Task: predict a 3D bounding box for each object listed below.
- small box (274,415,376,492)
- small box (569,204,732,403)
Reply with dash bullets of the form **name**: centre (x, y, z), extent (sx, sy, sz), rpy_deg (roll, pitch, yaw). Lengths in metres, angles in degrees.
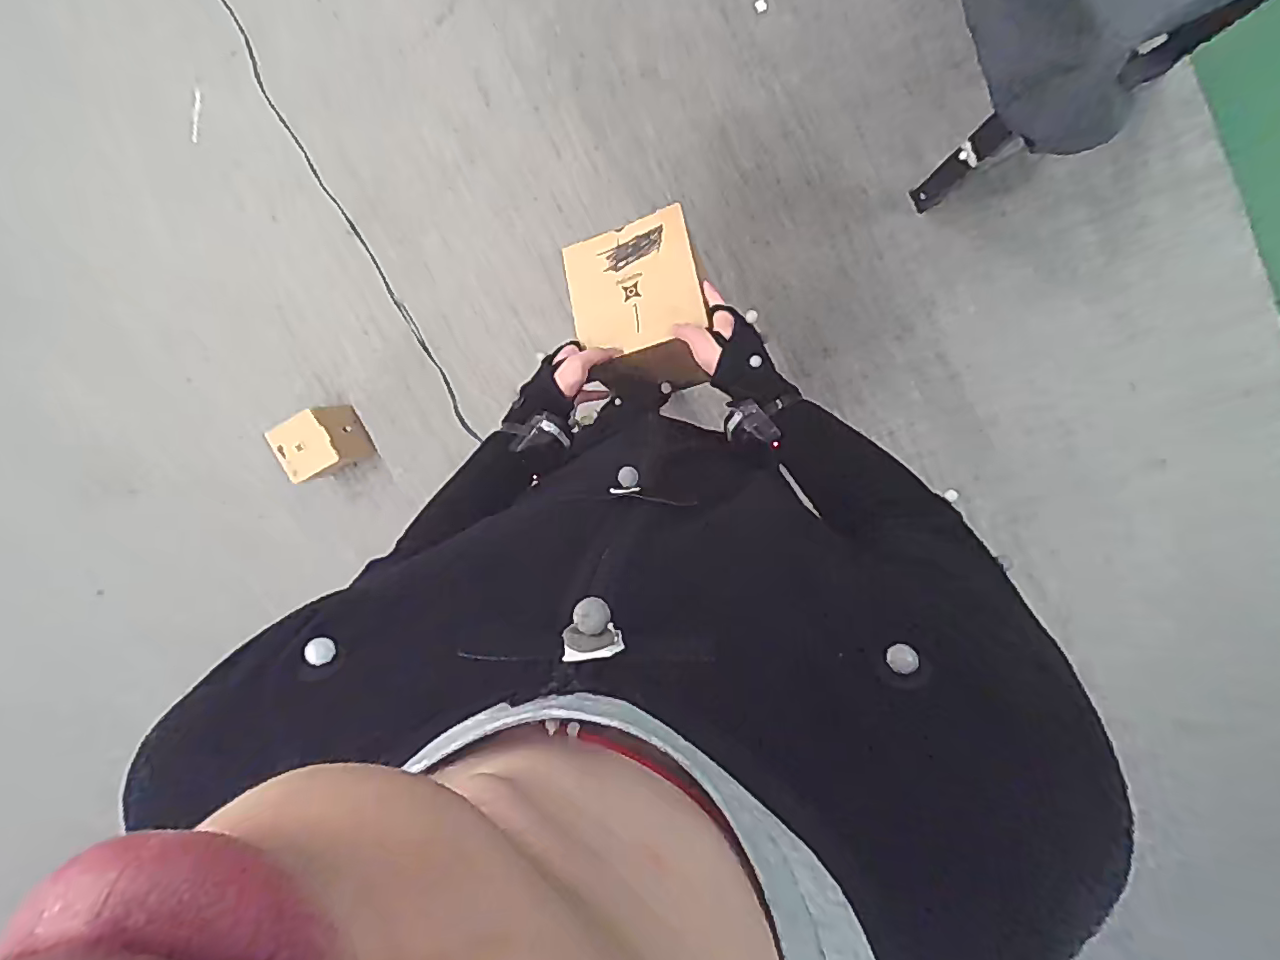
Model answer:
- **small box**: centre (-0.920, -0.086, 1.605), extent (0.179, 0.176, 0.168), rpy_deg (-25, 95, 12)
- **small box**: centre (0.020, -0.228, 0.743), extent (0.168, 0.176, 0.179), rpy_deg (-15, 76, 16)
